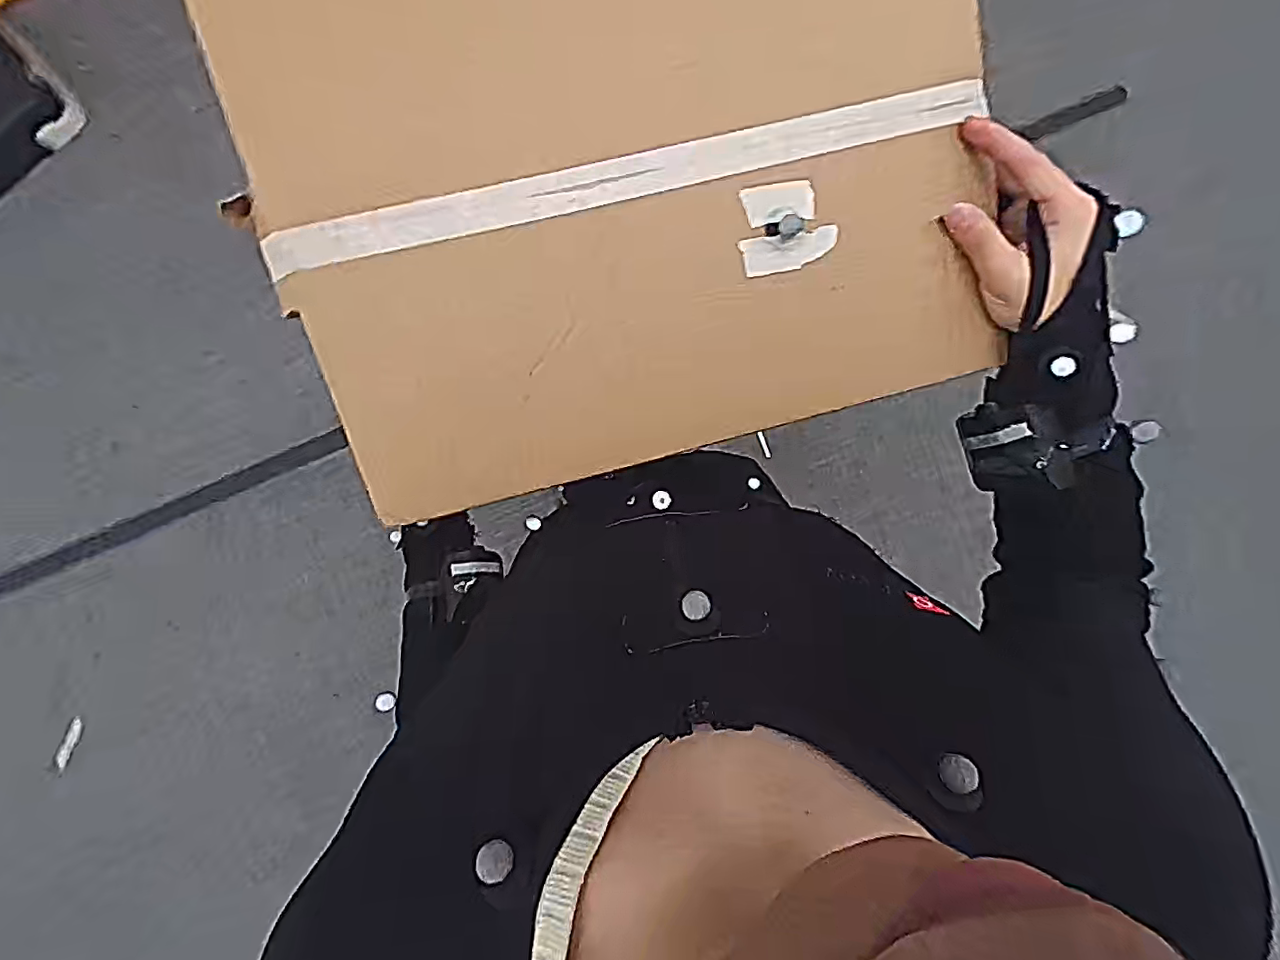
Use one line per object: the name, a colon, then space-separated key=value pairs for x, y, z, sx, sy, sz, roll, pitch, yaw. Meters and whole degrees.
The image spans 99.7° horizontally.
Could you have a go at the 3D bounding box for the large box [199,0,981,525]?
large box: x=-0.020 y=-0.195 z=0.457 sx=0.408 sy=0.320 sz=0.320 roll=-16 pitch=103 yaw=-6
